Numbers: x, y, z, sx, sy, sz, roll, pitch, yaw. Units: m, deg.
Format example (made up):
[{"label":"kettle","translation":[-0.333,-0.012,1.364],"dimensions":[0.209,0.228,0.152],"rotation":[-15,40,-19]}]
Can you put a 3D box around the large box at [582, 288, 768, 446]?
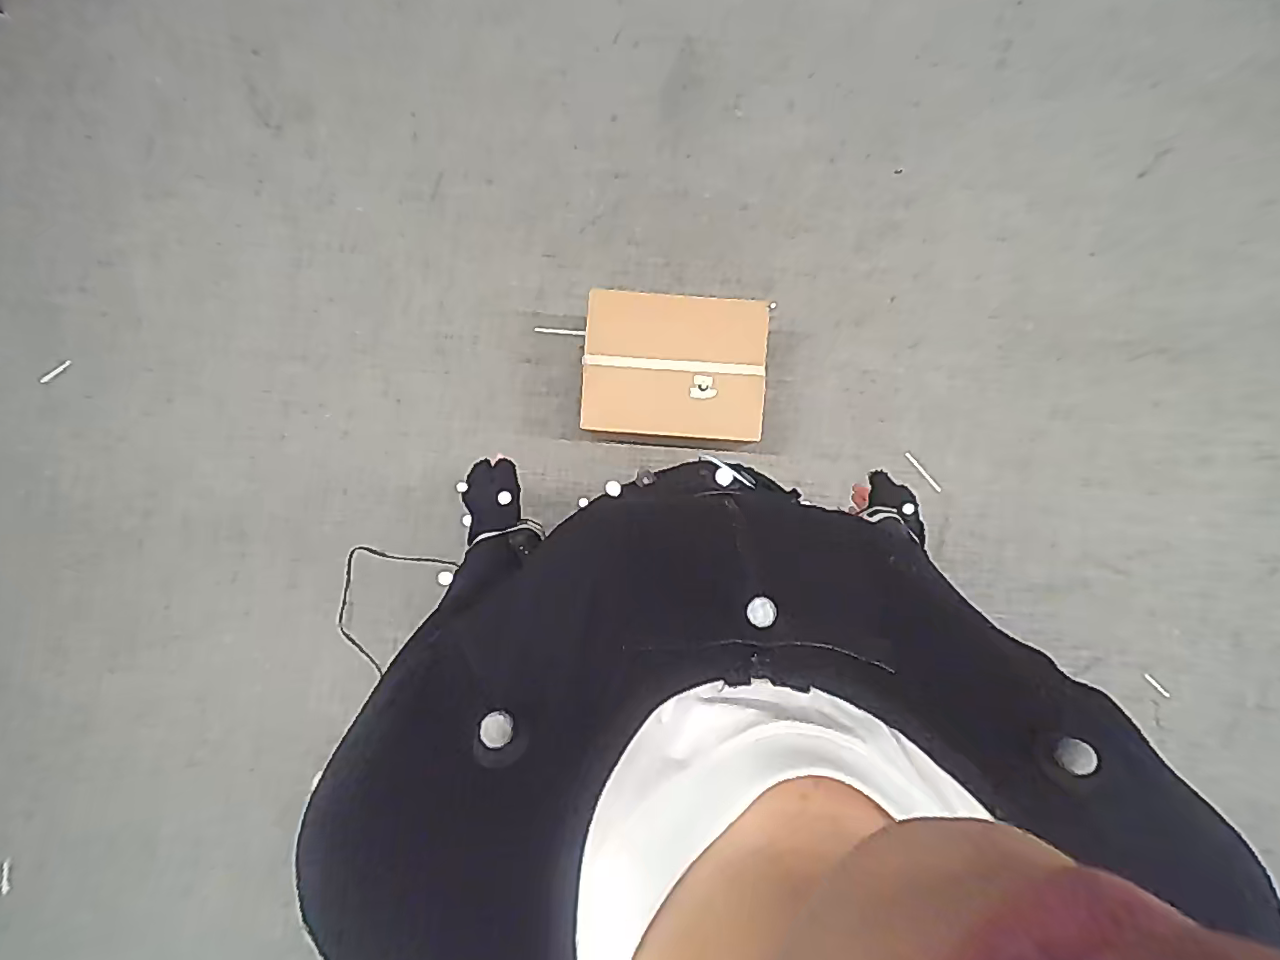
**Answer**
[{"label":"large box","translation":[0.074,-0.258,1.341],"dimensions":[0.408,0.320,0.320],"rotation":[4,90,0]}]
